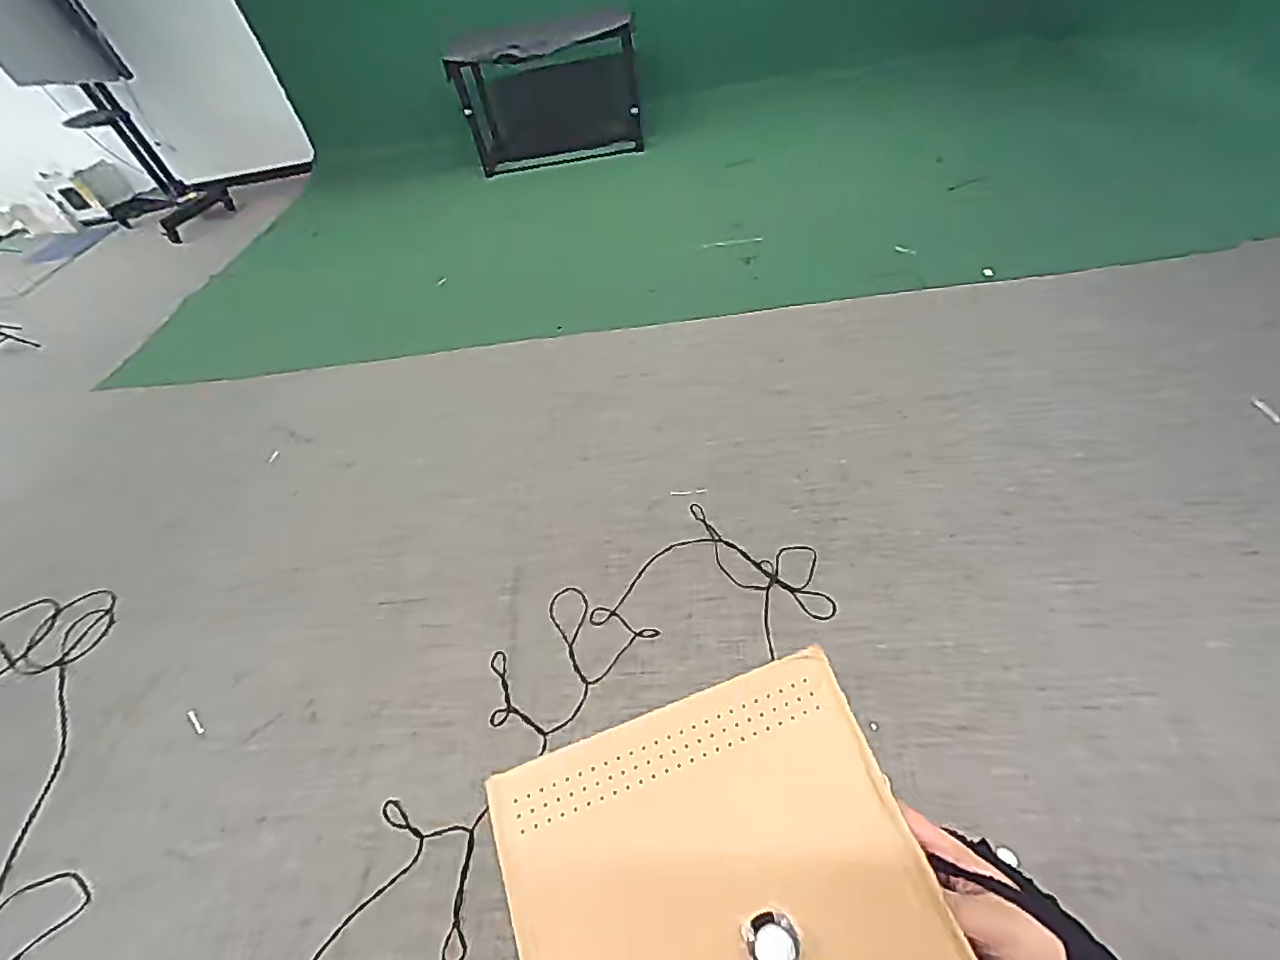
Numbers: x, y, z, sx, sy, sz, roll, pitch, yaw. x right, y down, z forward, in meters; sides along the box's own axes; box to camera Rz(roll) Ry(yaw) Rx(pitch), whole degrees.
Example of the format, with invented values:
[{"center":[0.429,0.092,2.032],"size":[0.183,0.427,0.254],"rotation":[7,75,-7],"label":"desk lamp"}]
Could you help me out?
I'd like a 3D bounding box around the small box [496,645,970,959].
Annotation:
[{"center":[0.043,0.209,0.306],"size":[0.179,0.168,0.176],"rotation":[-22,64,-2],"label":"small box"}]
